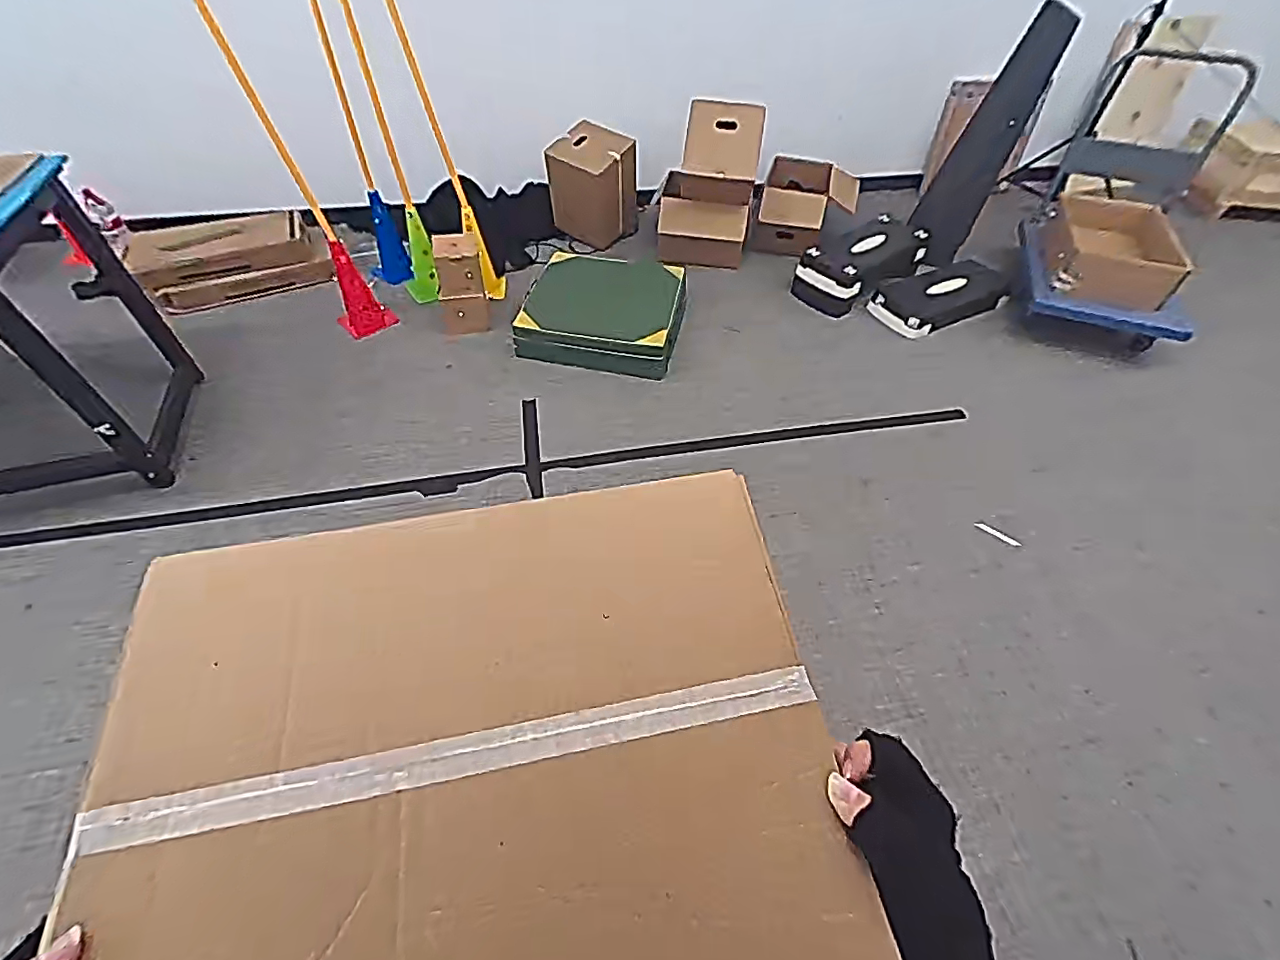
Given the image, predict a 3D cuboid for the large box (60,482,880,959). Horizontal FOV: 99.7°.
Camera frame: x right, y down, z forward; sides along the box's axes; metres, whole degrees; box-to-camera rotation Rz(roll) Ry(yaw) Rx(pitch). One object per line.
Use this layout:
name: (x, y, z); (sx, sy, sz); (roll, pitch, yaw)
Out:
large box: (-0.100, 0.236, 0.445); (0.408, 0.320, 0.320); (-9, 59, -6)
